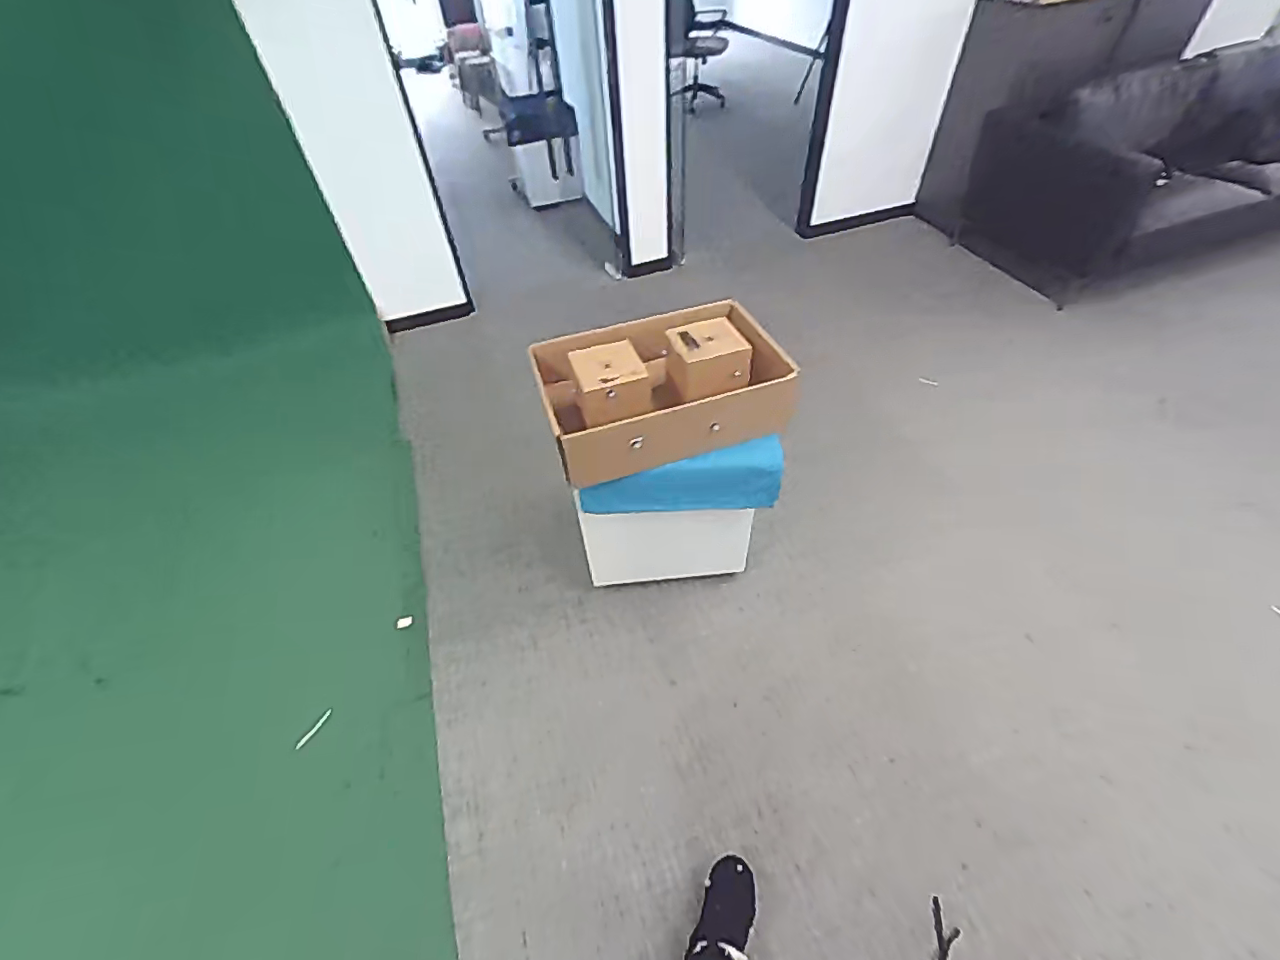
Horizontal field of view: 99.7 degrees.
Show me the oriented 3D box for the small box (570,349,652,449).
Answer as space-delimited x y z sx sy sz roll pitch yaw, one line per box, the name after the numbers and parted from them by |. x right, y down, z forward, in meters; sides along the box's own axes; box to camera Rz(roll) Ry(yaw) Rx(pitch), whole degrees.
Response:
-0.074 -0.207 1.389 0.168 0.176 0.179 -16 46 -11 | small box
